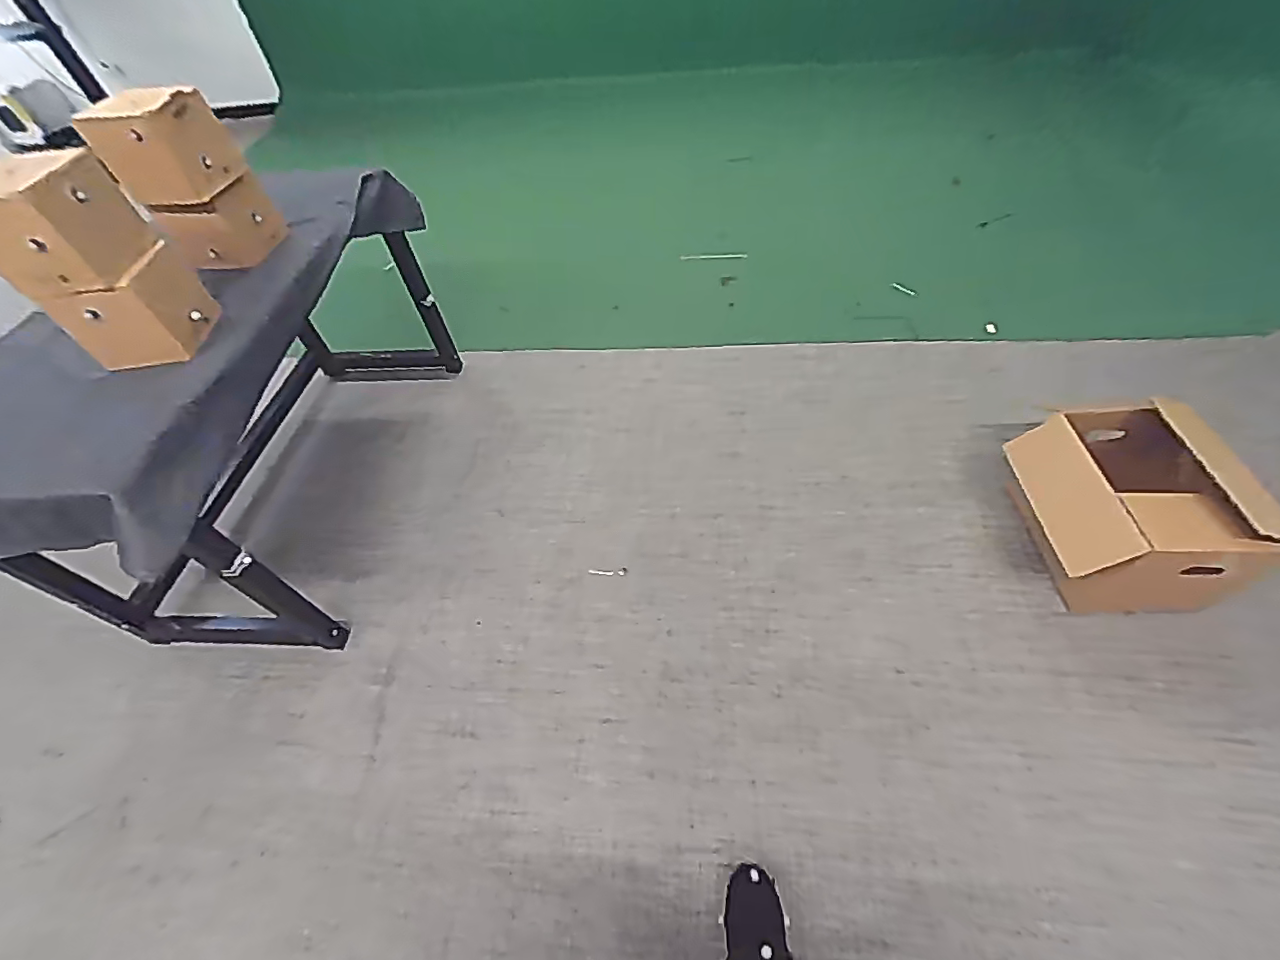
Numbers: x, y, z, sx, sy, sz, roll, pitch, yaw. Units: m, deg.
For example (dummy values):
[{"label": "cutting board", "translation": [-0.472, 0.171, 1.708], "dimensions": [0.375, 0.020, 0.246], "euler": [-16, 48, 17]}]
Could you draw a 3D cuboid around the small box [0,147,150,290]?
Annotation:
[{"label": "small box", "translation": [-1.022, -0.446, 0.937], "dimensions": [0.168, 0.176, 0.179], "euler": [-4, 51, 1]}]

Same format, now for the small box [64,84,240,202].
[{"label": "small box", "translation": [-1.011, -0.706, 1.140], "dimensions": [0.179, 0.176, 0.168], "euler": [3, 53, 8]}]

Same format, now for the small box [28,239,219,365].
[{"label": "small box", "translation": [-0.993, -0.344, 1.061], "dimensions": [0.179, 0.176, 0.168], "euler": [-7, 52, 0]}]

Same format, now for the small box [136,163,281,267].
[{"label": "small box", "translation": [-1.007, -0.626, 1.284], "dimensions": [0.179, 0.176, 0.168], "euler": [1, 52, 6]}]
